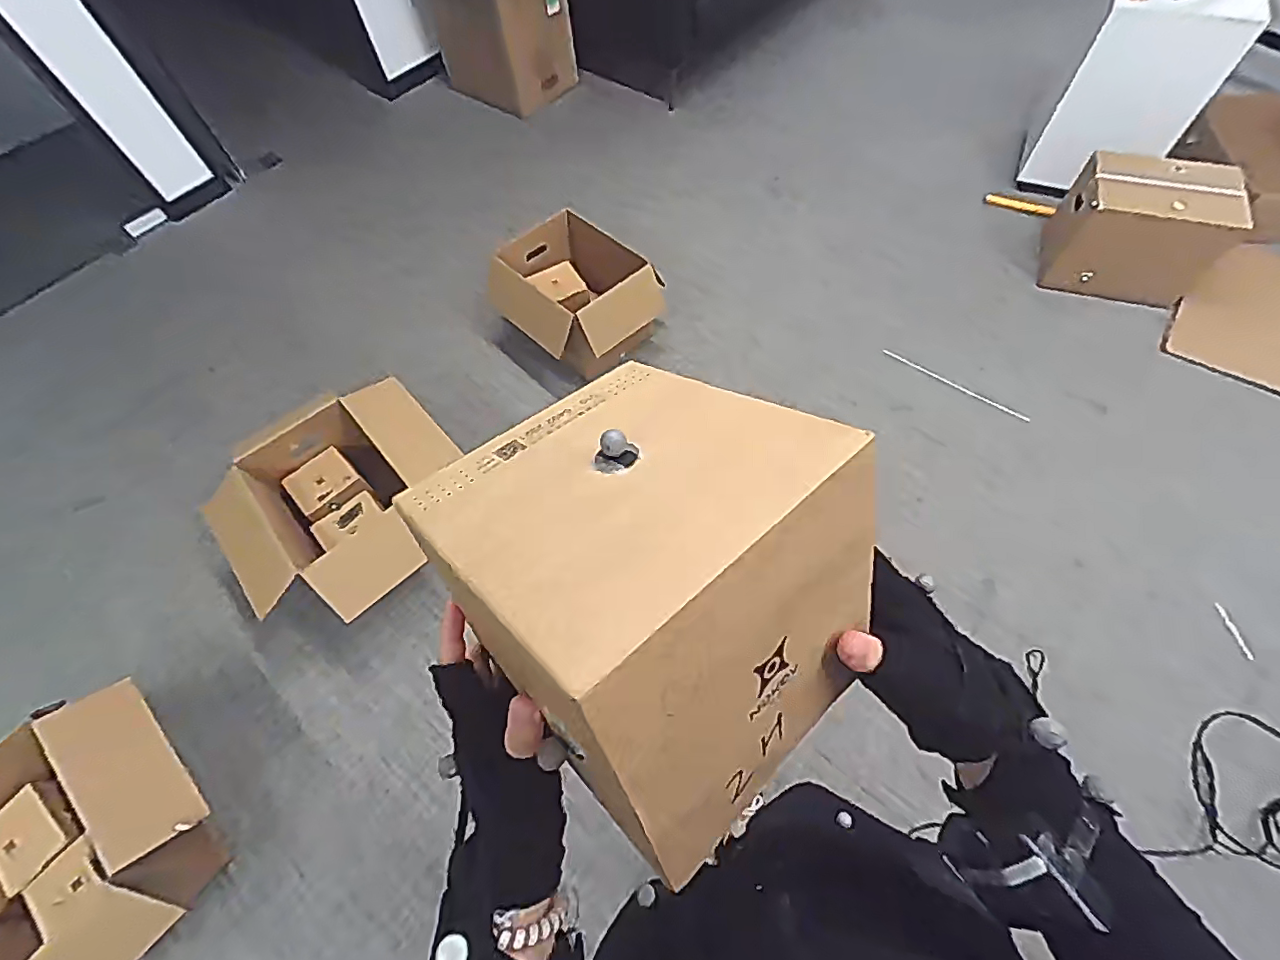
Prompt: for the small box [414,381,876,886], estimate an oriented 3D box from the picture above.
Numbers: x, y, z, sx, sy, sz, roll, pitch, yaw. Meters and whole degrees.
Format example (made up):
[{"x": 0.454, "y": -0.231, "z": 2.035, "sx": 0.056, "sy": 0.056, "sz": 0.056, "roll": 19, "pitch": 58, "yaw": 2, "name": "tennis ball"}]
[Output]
[{"x": 0.007, "y": 0.058, "z": 0.299, "sx": 0.168, "sy": 0.179, "sz": 0.176, "roll": -35, "pitch": 40, "yaw": -26, "name": "small box"}]
